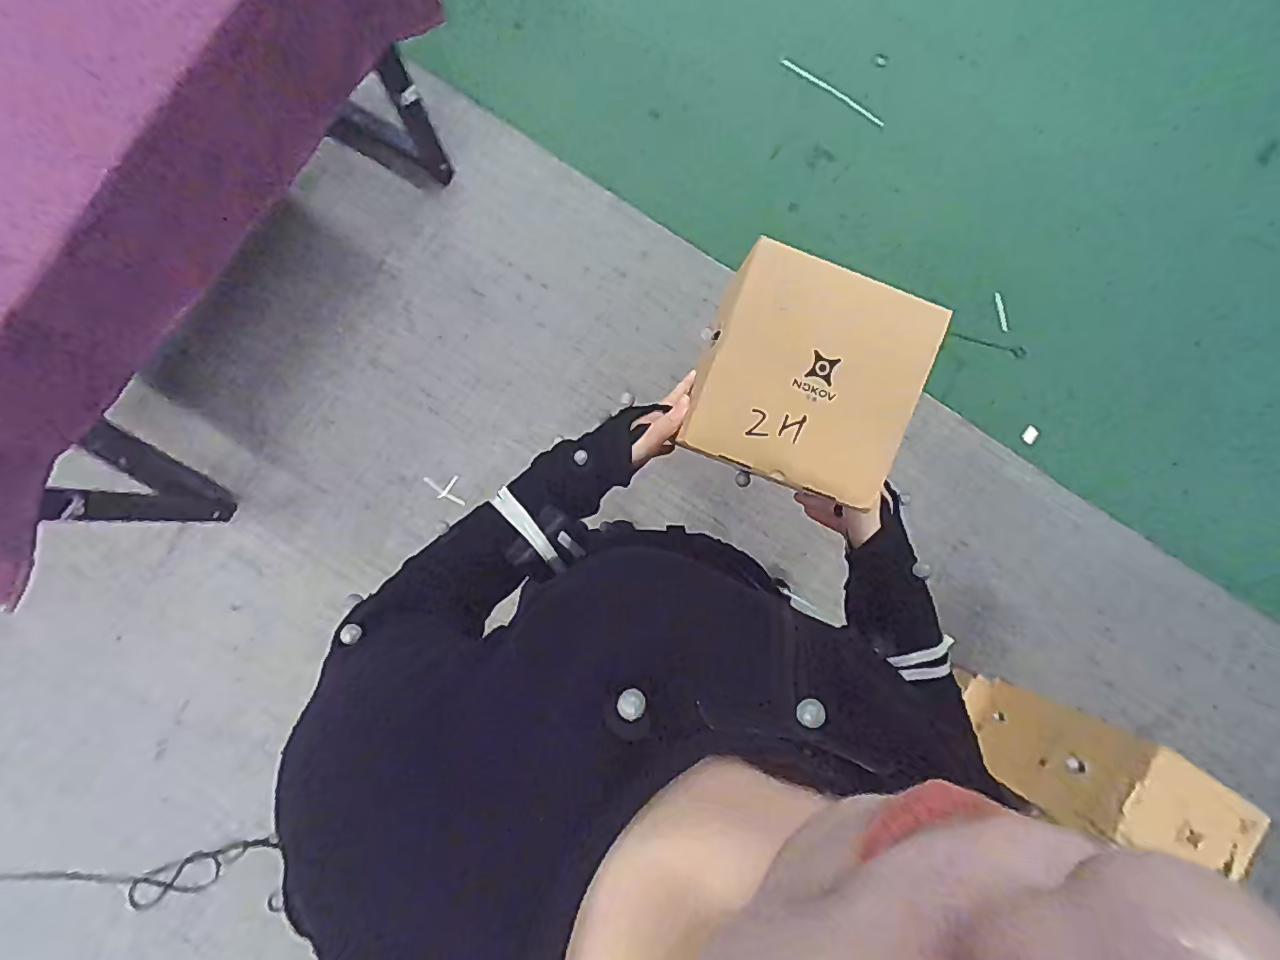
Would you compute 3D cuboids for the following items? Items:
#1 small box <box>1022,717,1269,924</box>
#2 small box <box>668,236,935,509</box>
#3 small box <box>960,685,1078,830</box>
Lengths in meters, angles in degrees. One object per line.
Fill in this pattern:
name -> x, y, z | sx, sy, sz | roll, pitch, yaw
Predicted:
small box -> 0.727, 0.481, 0.802 | 0.179, 0.176, 0.168 | 35, 86, 3
small box -> 0.129, -0.091, 0.511 | 0.168, 0.176, 0.179 | 20, 95, -2
small box -> 0.728, 0.497, 0.965 | 0.179, 0.176, 0.168 | 34, 86, 2
